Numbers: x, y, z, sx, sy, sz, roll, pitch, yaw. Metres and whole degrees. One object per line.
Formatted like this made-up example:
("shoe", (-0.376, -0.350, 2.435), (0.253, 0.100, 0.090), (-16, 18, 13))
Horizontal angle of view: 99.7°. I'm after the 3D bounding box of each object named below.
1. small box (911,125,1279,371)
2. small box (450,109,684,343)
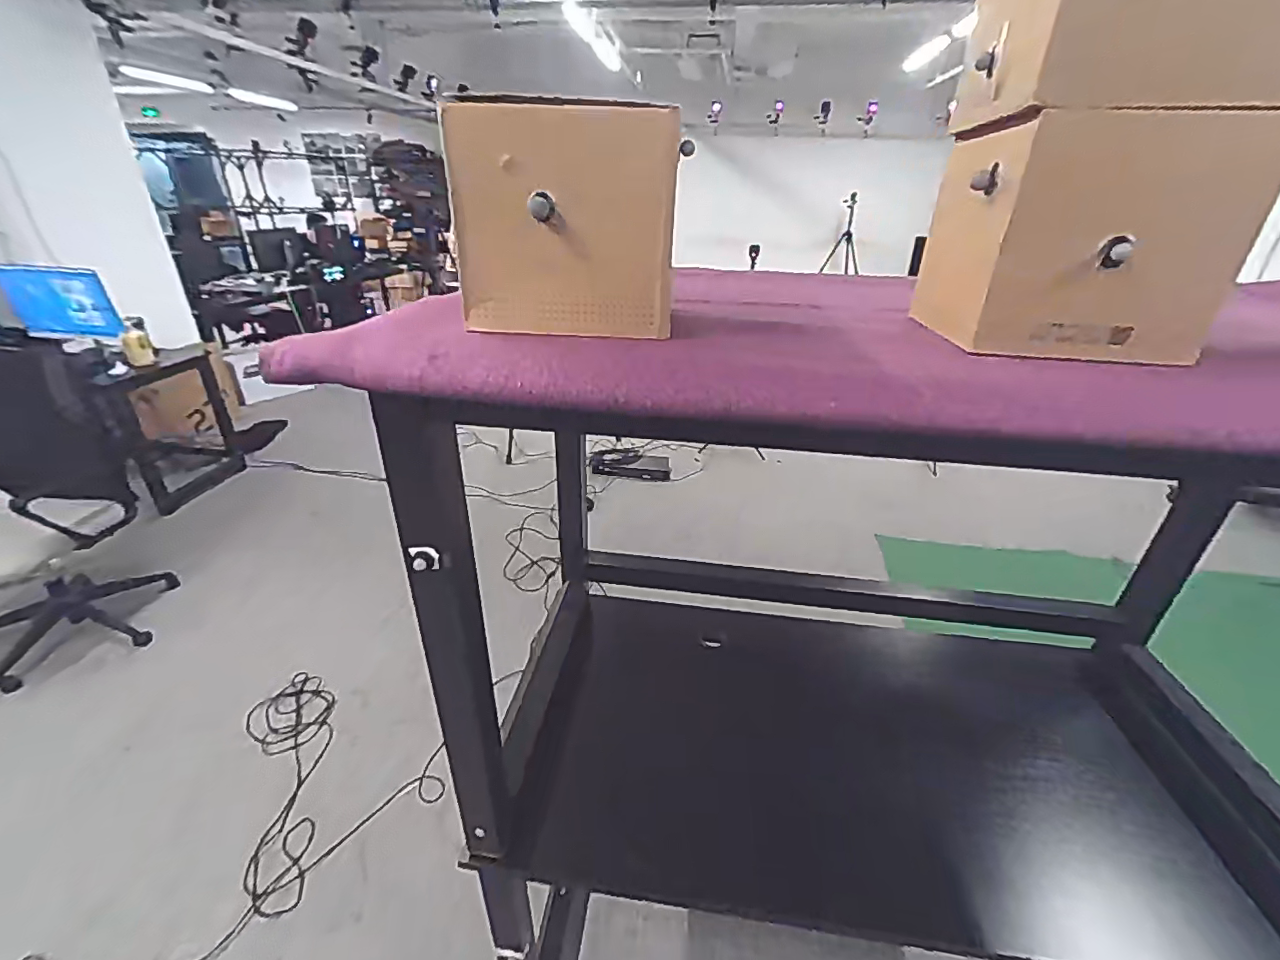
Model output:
("small box", (0.363, -0.200, 0.474), (0.168, 0.176, 0.179), (6, 27, 6))
("small box", (-0.051, -0.228, 0.498), (0.179, 0.176, 0.168), (3, 29, 1))
